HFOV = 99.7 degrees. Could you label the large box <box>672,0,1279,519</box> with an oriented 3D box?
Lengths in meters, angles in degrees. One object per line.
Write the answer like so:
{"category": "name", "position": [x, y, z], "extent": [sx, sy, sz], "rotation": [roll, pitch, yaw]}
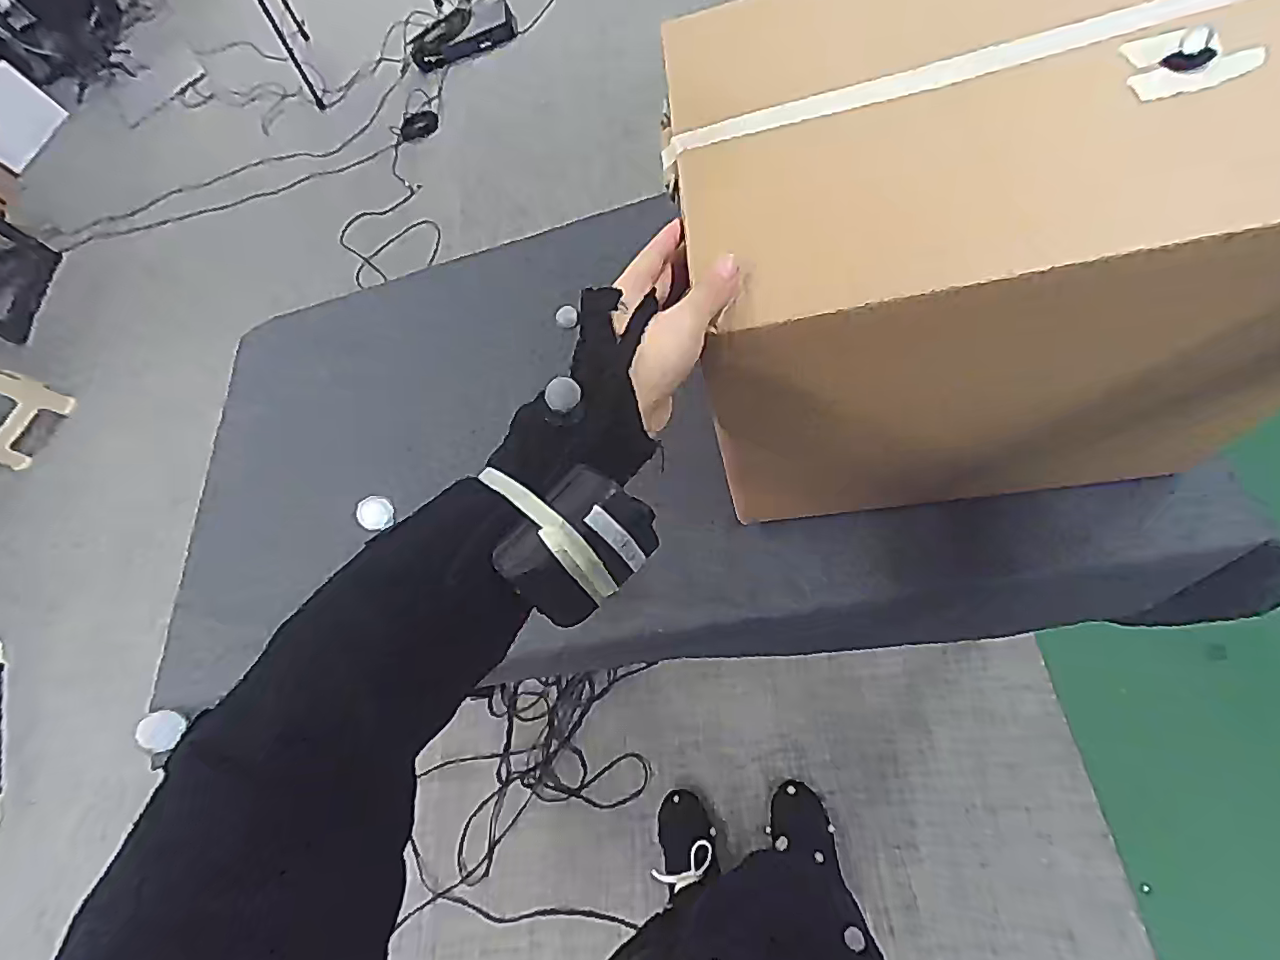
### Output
{"category": "large box", "position": [0.257, -0.183, 0.458], "extent": [0.408, 0.320, 0.320], "rotation": [-8, 65, 10]}
